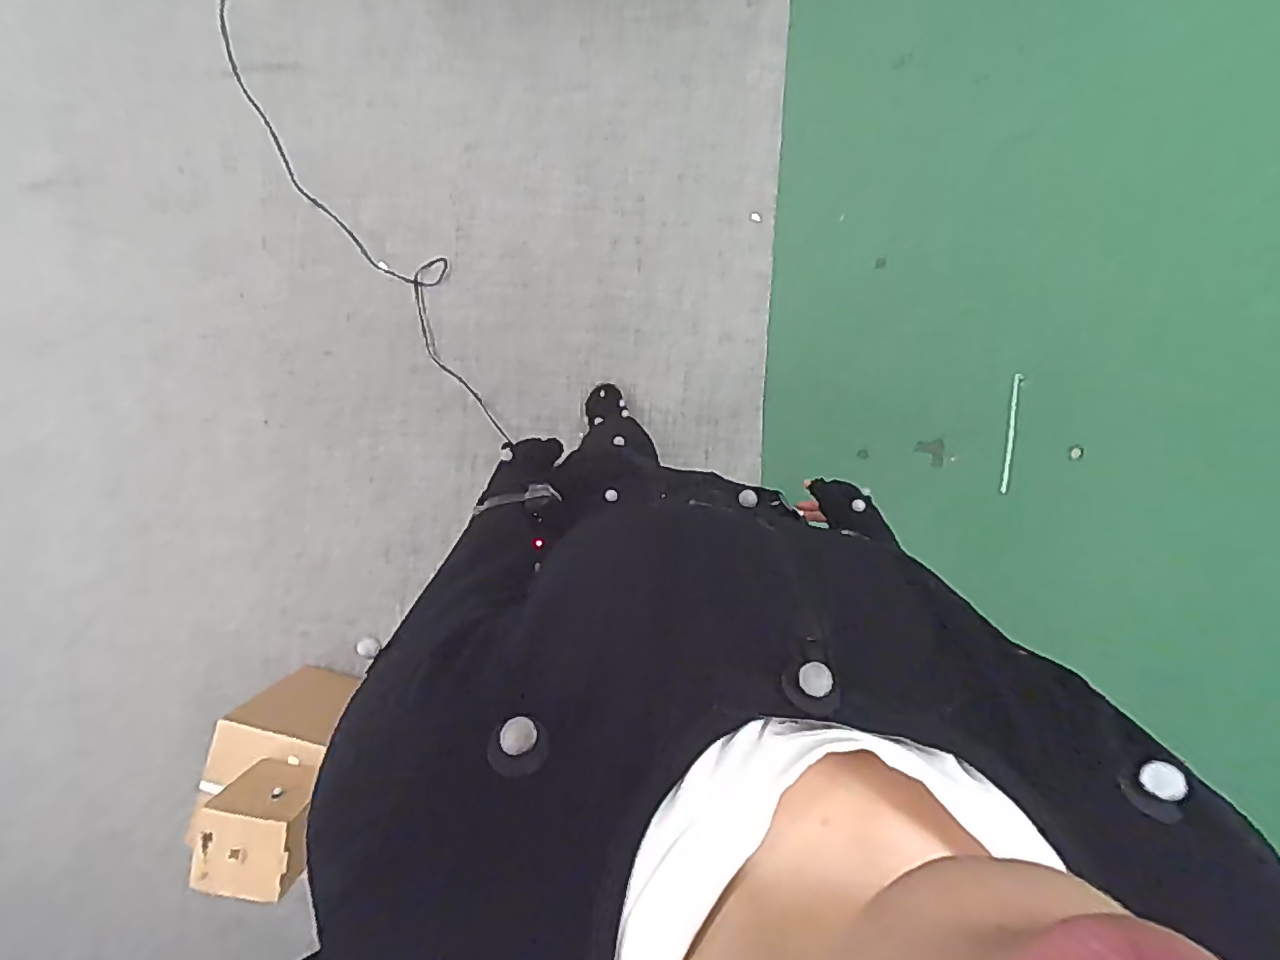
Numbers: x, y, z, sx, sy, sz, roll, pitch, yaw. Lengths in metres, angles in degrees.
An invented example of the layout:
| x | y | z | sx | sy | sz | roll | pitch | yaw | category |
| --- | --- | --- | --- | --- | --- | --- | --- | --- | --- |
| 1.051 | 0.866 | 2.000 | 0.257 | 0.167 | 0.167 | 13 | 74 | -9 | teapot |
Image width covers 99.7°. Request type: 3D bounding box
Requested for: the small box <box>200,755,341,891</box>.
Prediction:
| x | y | z | sx | sy | sz | roll | pitch | yaw | category |
| --- | --- | --- | --- | --- | --- | --- | --- | --- | --- |
| -0.756 | 0.702 | 1.125 | 0.179 | 0.176 | 0.168 | 10 | 93 | 0 | small box |
